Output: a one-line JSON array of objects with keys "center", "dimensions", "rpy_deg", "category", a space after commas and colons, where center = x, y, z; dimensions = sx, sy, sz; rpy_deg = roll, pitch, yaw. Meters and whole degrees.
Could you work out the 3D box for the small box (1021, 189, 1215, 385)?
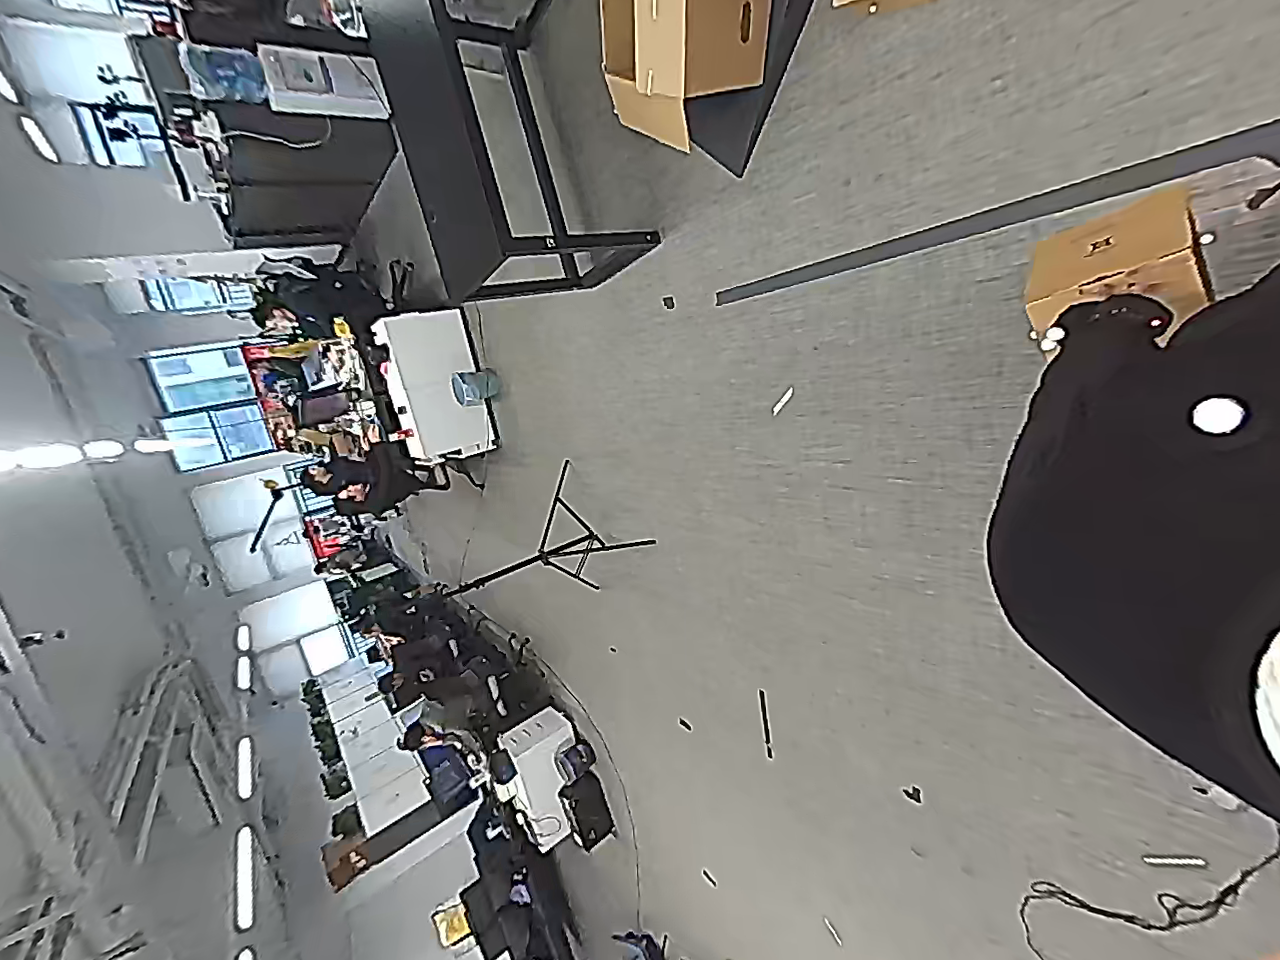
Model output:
[{"center": [0.662, -0.252, 0.751], "dimensions": [0.168, 0.179, 0.176], "rpy_deg": [-13, 126, 50], "category": "small box"}]
